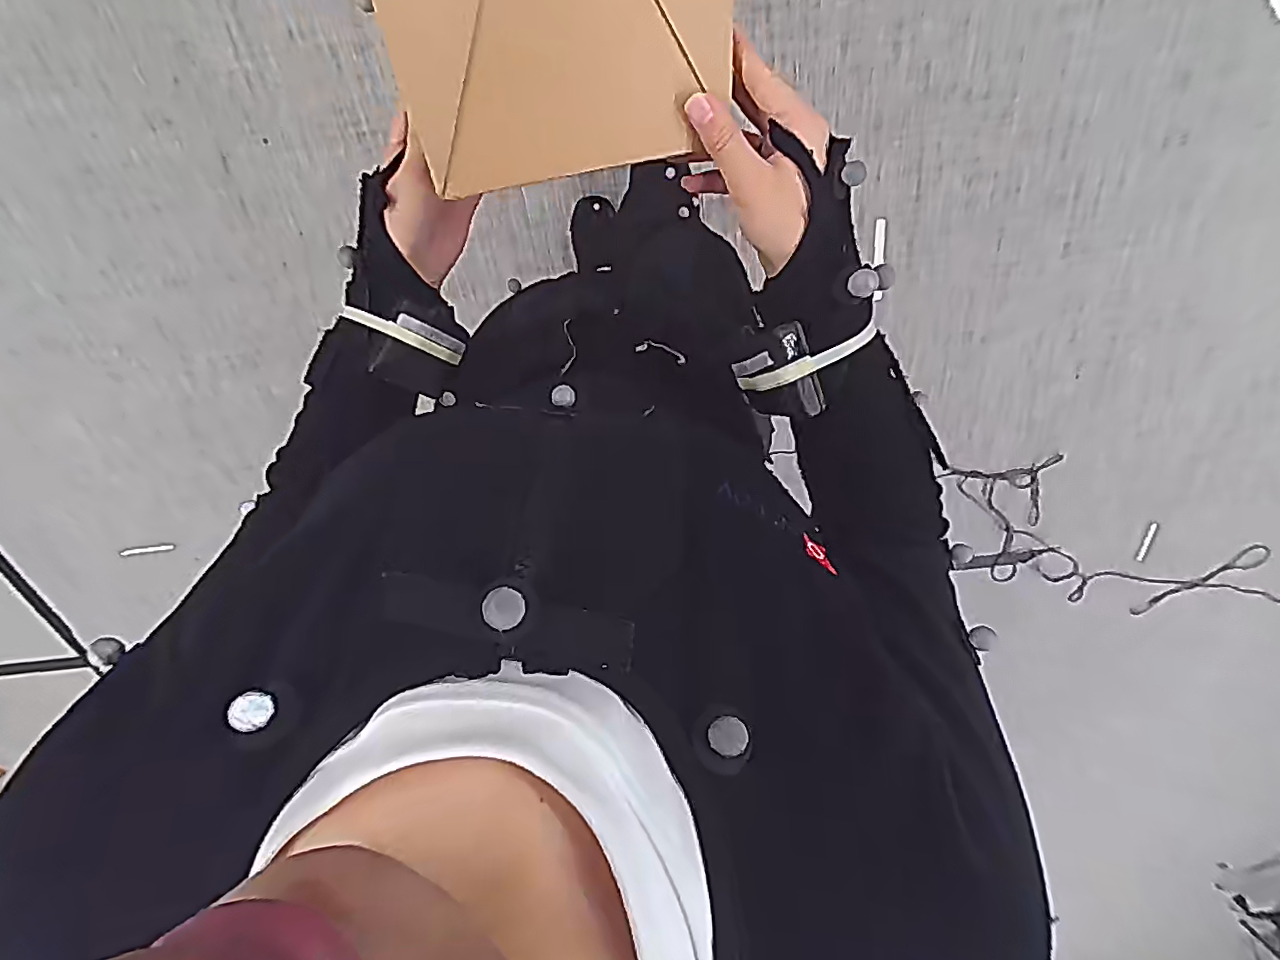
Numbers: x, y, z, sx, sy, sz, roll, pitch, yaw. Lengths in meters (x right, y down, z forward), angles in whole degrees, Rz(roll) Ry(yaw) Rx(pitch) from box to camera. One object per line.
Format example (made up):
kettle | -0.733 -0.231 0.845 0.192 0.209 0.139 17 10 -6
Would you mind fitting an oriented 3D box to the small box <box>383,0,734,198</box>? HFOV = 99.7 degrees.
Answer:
small box | -0.055 -0.284 0.293 0.168 0.176 0.179 -16 136 -8
